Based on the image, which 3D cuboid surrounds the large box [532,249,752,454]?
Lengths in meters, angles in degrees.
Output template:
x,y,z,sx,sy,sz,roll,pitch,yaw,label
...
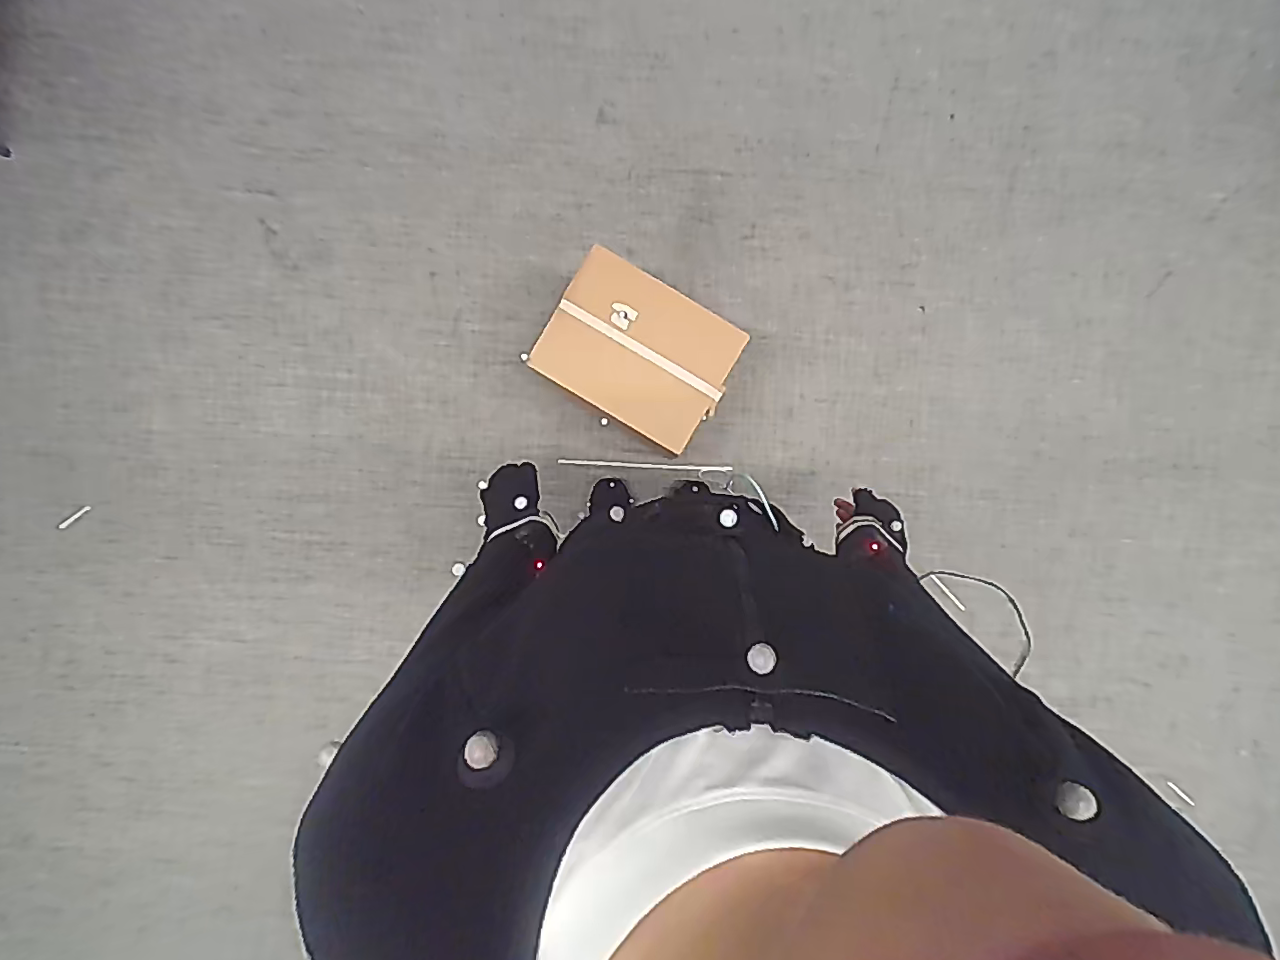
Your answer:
x,y,z,sx,sy,sz,roll,pitch,yaw,label
0.009,-0.290,1.349,0.408,0.320,0.320,30,90,1,large box
